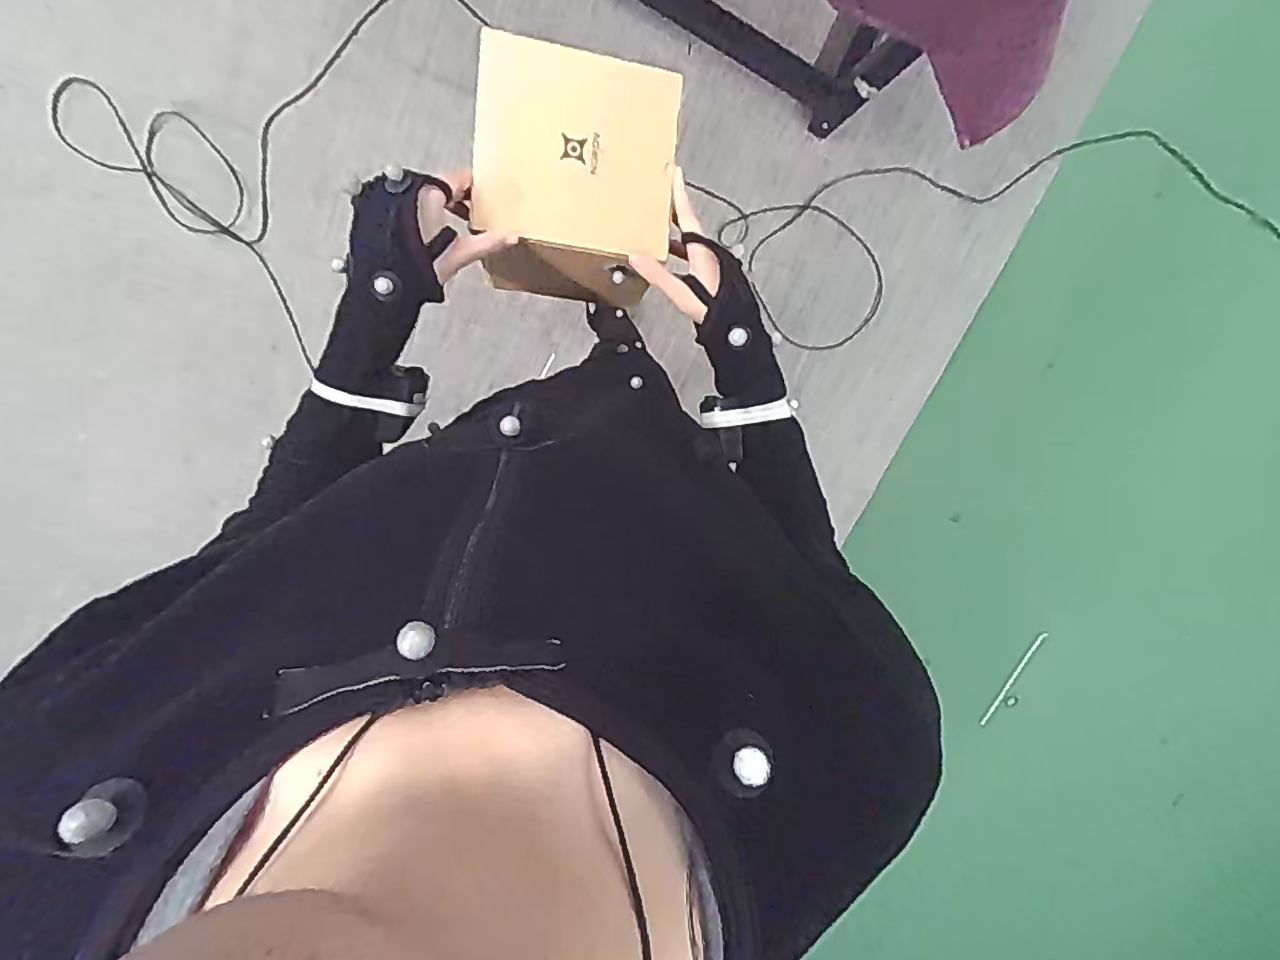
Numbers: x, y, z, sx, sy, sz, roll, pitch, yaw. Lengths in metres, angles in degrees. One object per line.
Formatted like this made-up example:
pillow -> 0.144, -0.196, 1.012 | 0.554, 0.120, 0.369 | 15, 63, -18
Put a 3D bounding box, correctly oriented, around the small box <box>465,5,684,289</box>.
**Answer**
small box -> -0.069, -0.303, 0.537 | 0.179, 0.176, 0.168 | 5, 92, -13
